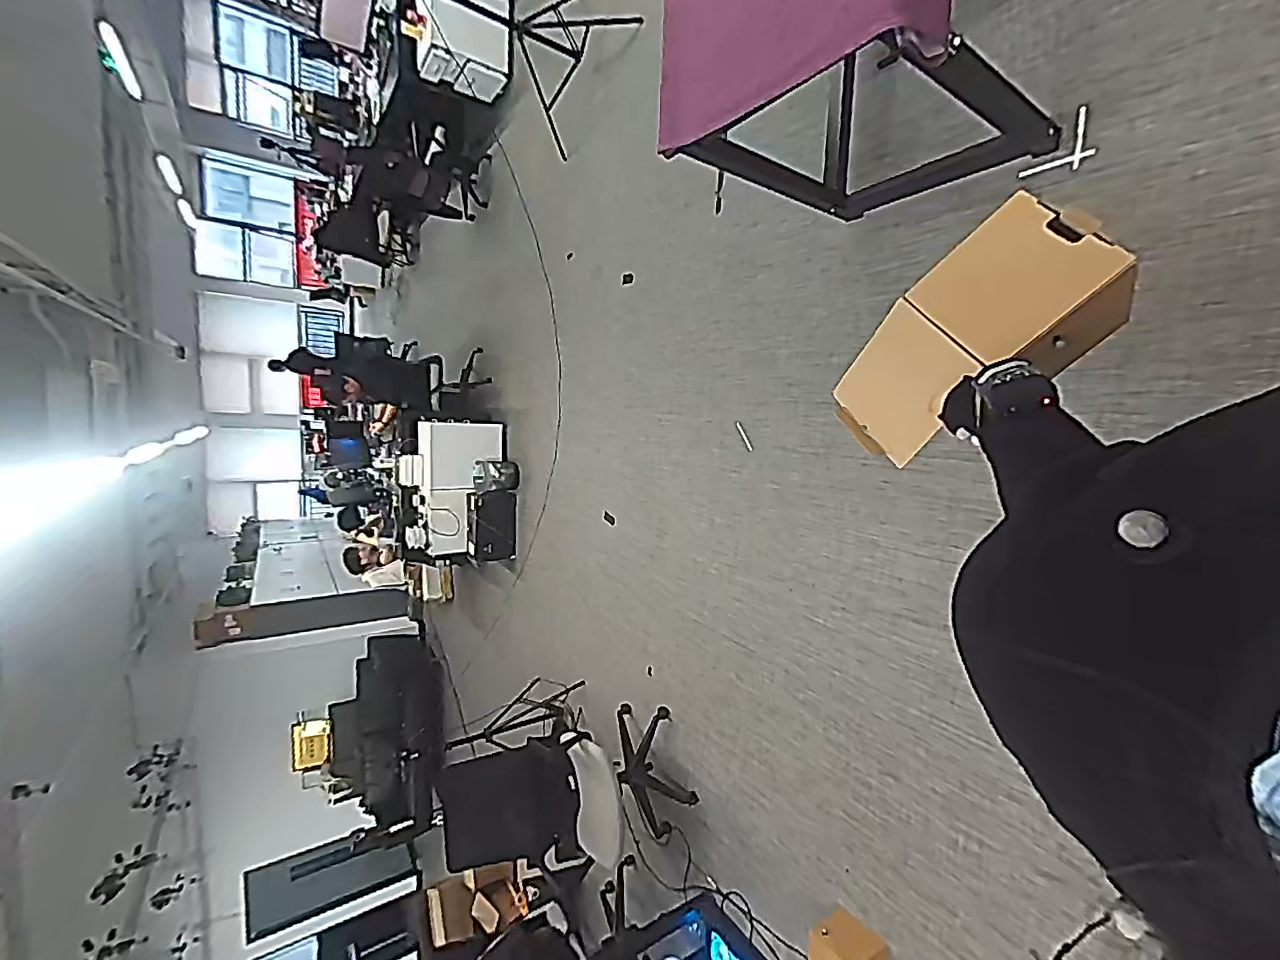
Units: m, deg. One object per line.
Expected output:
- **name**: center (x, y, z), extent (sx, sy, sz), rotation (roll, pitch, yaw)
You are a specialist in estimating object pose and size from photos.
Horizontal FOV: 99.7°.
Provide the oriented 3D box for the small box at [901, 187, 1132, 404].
- **small box**: center (0.487, -0.227, 0.708), extent (0.179, 0.176, 0.168), rotation (-44, 56, 22)
